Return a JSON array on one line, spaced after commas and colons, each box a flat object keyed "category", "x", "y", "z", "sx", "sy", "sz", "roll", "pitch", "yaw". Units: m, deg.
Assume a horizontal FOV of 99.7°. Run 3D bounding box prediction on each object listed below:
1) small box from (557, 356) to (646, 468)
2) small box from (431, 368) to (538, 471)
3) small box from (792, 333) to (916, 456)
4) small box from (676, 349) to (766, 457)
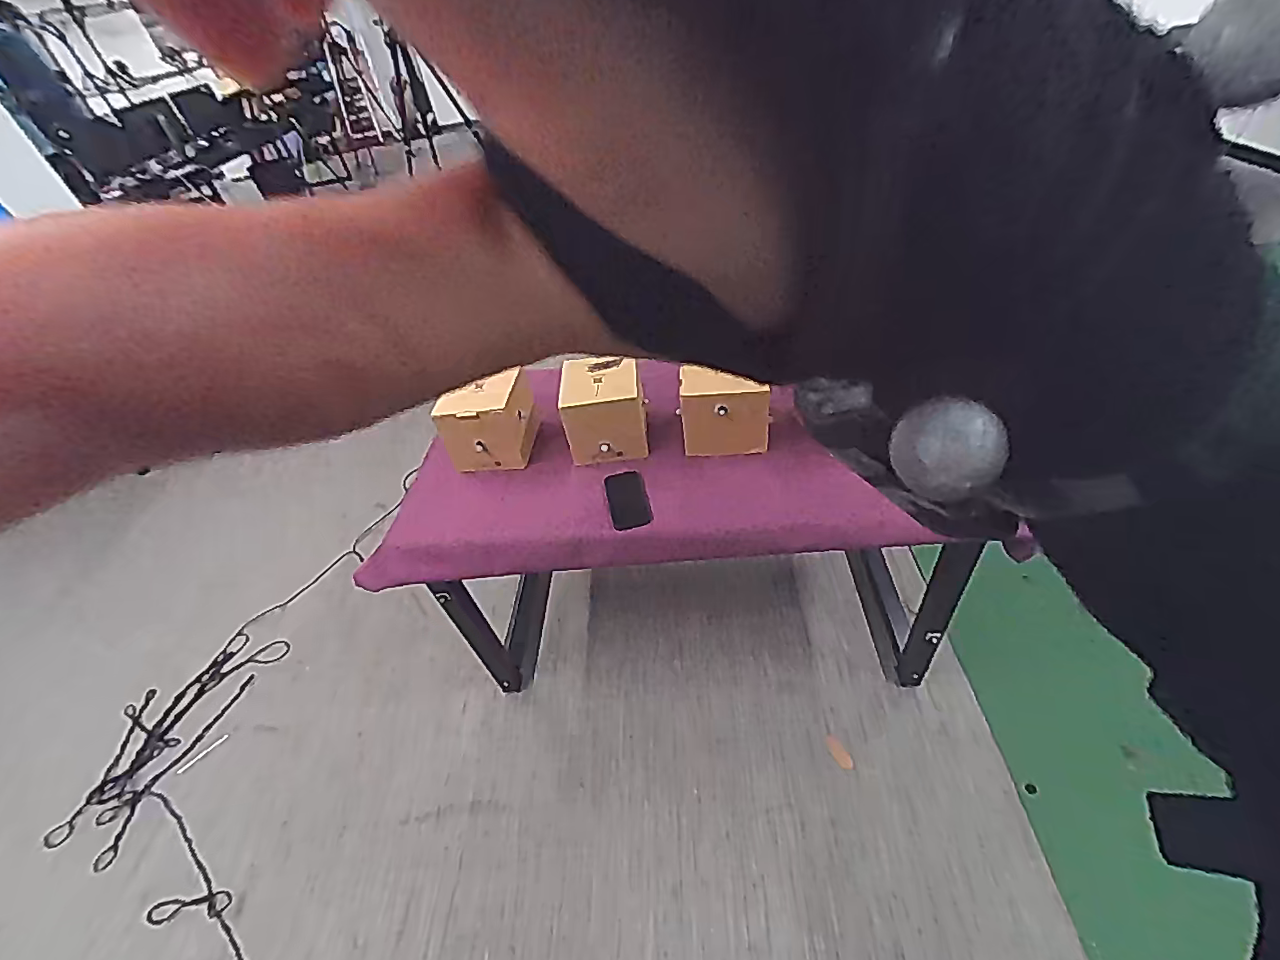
[{"category": "small box", "x": -0.079, "y": -0.151, "z": 1.202, "sx": 0.168, "sy": 0.176, "sz": 0.179, "roll": -7, "pitch": 44, "yaw": 5}, {"category": "small box", "x": -0.344, "y": -0.131, "z": 1.237, "sx": 0.168, "sy": 0.176, "sz": 0.179, "roll": -3, "pitch": 45, "yaw": 8}, {"category": "small box", "x": 0.433, "y": -0.174, "z": 1.120, "sx": 0.179, "sy": 0.176, "sz": 0.168, "roll": -19, "pitch": 43, "yaw": -8}, {"category": "small box", "x": 0.178, "y": -0.161, "z": 1.161, "sx": 0.179, "sy": 0.176, "sz": 0.168, "roll": -2, "pitch": 45, "yaw": 10}]
